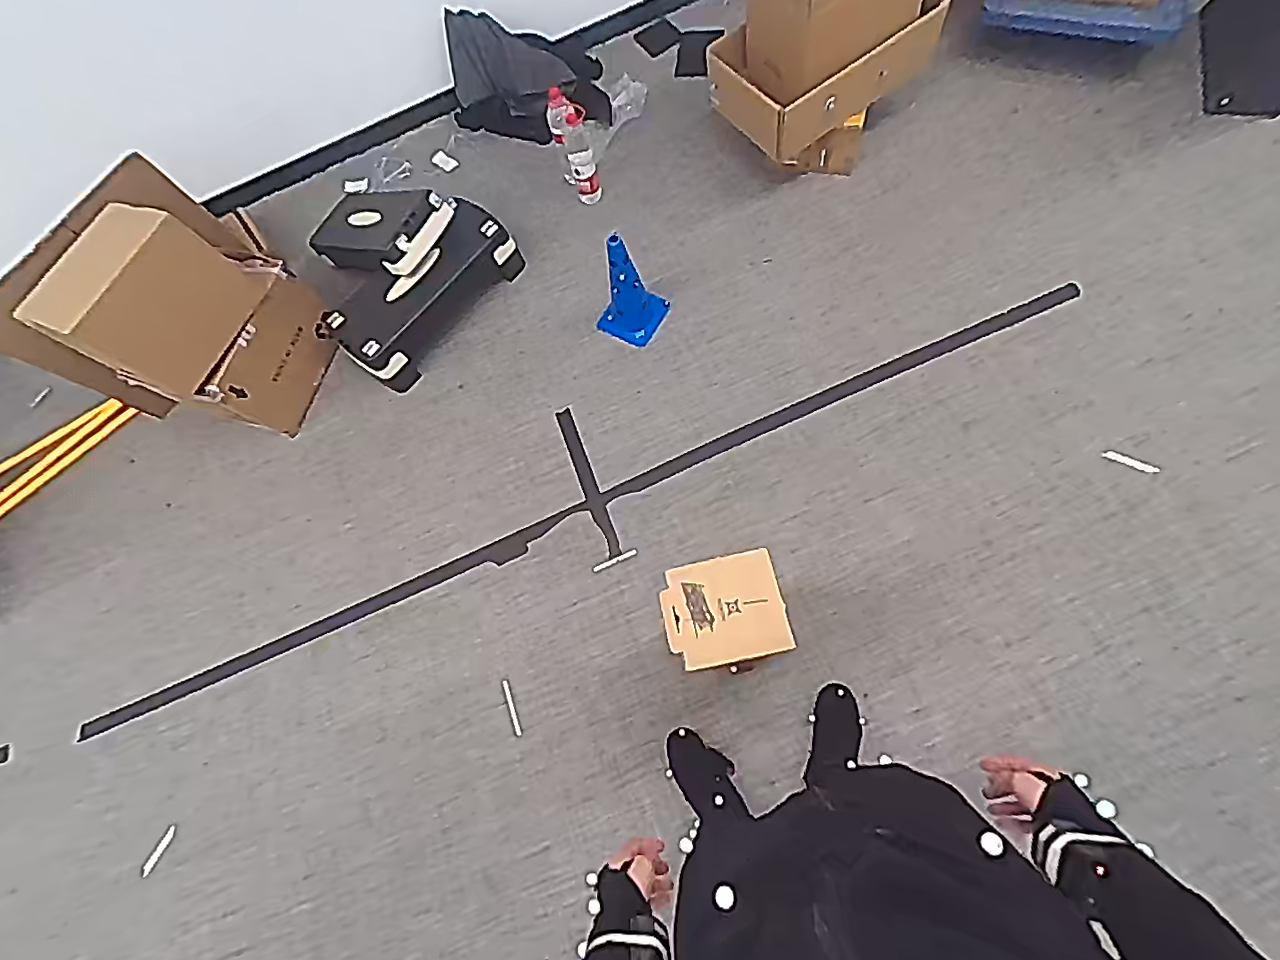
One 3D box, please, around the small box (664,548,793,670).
[{"bbox_3d":[0.150,0.231,0.940,0.179,0.176,0.168,-13,70,3],"label":"small box"}]
